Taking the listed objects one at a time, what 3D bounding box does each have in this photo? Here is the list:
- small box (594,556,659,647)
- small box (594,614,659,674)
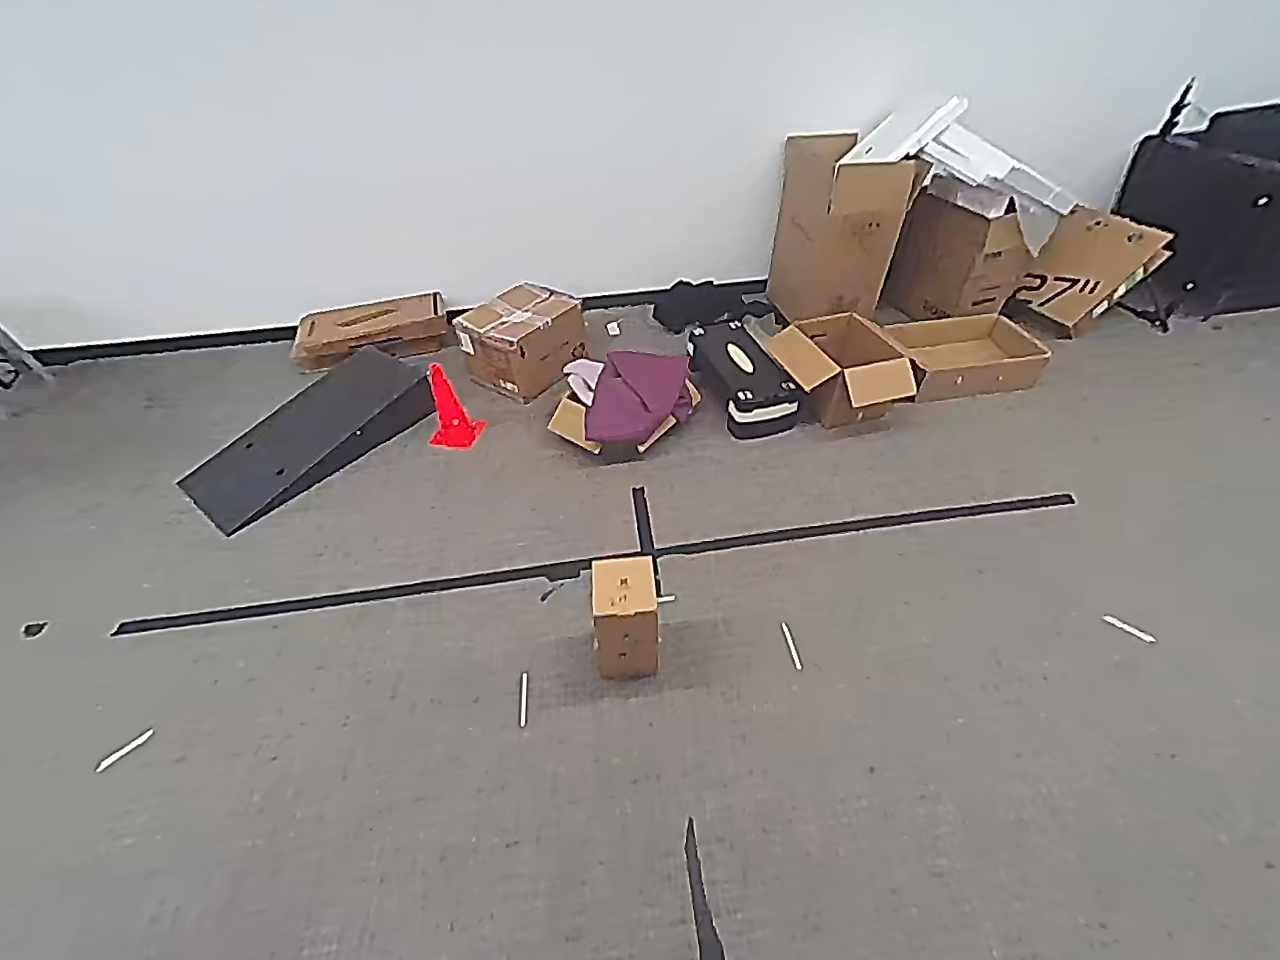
[{"bbox_3d":[-0.038,0.331,1.467,0.168,0.176,0.179,-4,44,-1],"label":"small box"},{"bbox_3d":[-0.038,0.453,1.578,0.179,0.176,0.168,-4,44,-2],"label":"small box"}]
